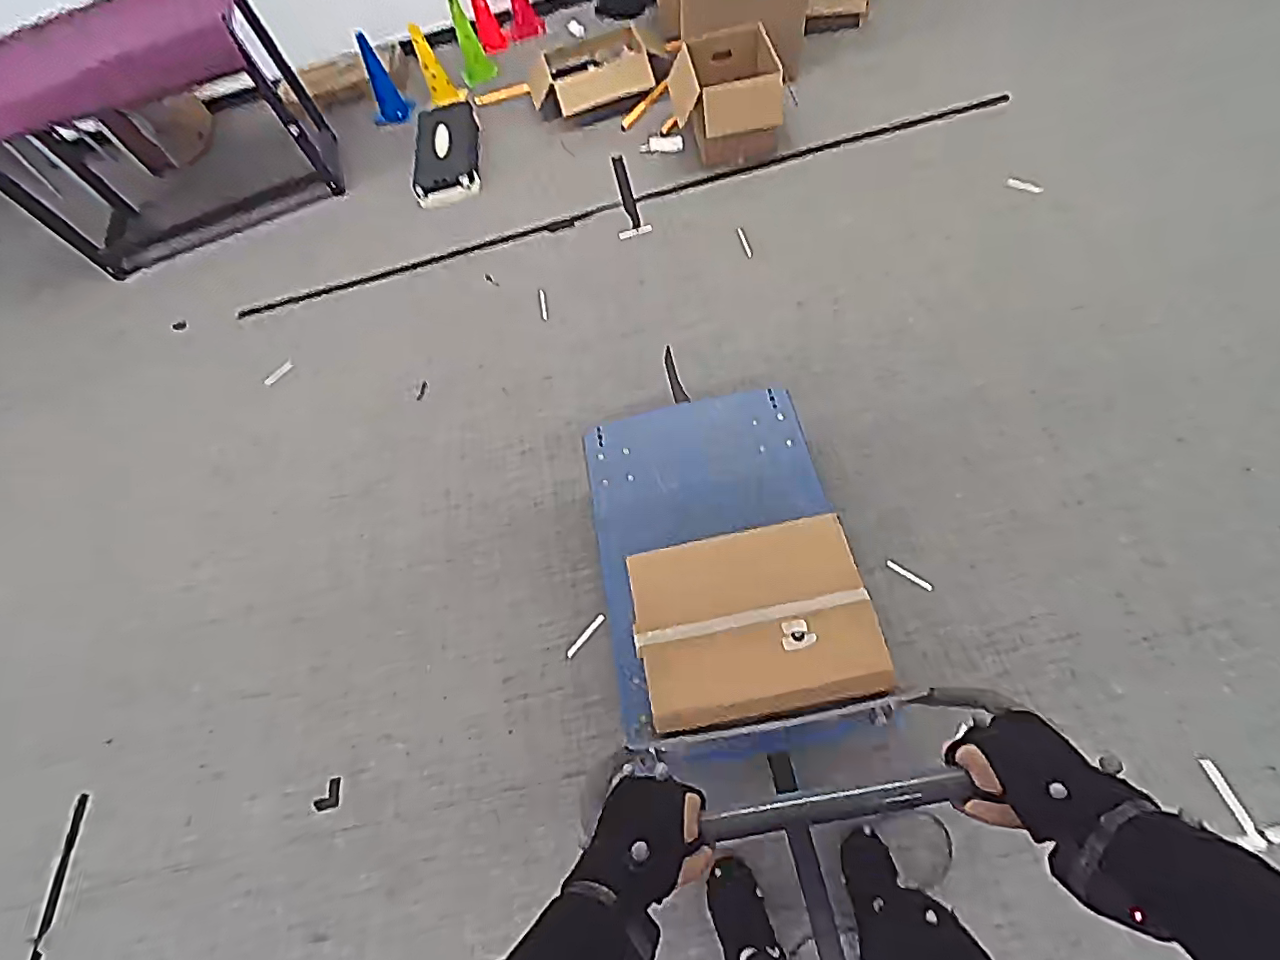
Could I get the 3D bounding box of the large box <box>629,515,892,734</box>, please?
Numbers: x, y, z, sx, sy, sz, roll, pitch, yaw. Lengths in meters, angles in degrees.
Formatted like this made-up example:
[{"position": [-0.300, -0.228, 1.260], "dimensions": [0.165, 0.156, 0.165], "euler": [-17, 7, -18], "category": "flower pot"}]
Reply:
[{"position": [0.216, 0.307, 1.095], "dimensions": [0.408, 0.320, 0.320], "euler": [-13, 65, 2], "category": "large box"}]
